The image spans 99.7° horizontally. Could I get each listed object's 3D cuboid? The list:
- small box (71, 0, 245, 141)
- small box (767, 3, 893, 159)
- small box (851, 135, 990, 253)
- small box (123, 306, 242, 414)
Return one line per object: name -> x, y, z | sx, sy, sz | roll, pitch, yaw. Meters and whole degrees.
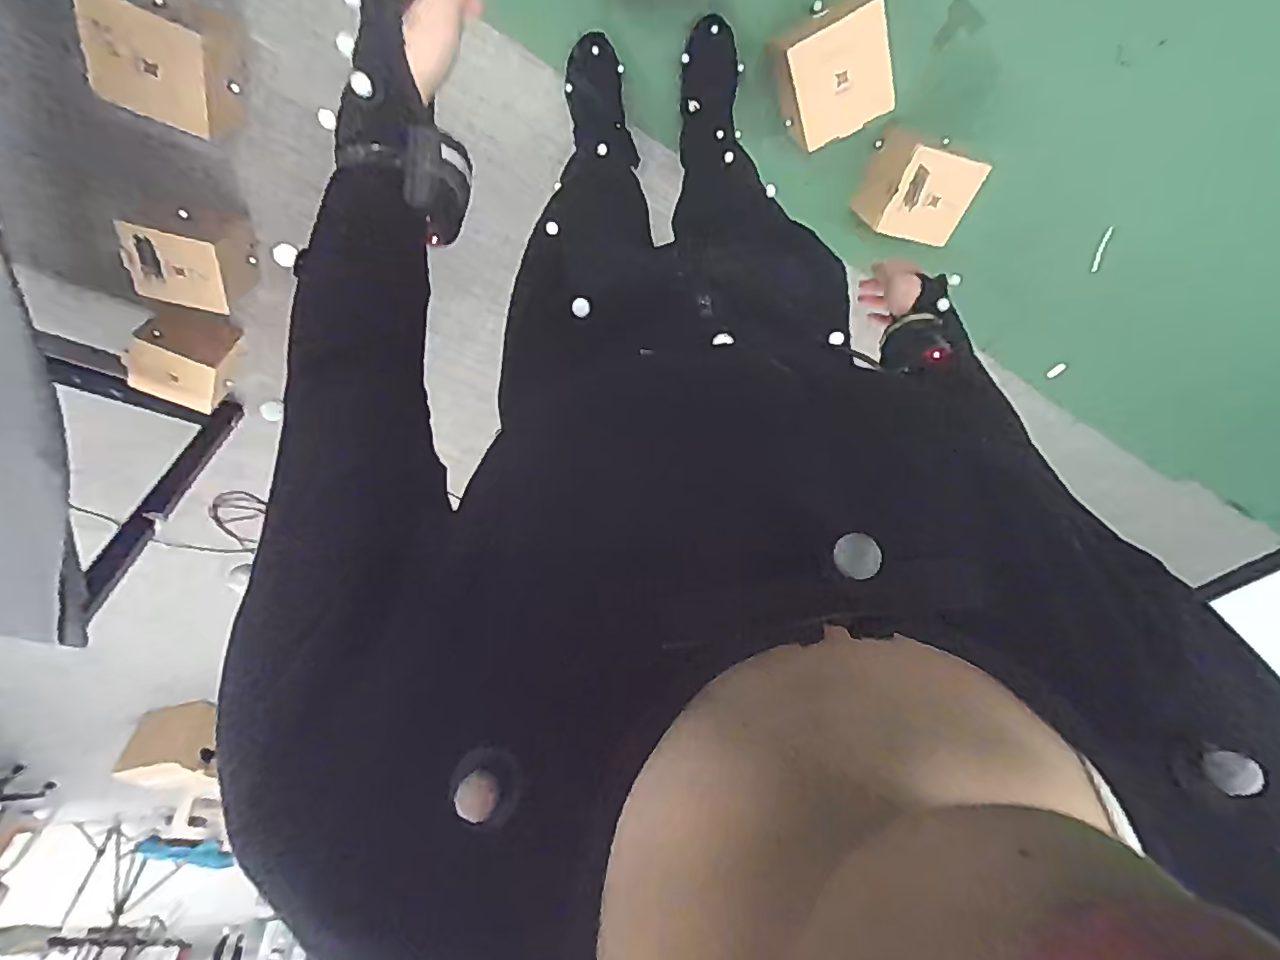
small box -> -0.821, -0.738, 0.946 | 0.179, 0.176, 0.168 | 16, 131, -19
small box -> 0.355, -0.753, 1.019 | 0.168, 0.176, 0.179 | -21, 132, 15
small box -> 0.590, -0.620, 1.167 | 0.179, 0.176, 0.168 | 7, 134, -12
small box -> -1.142, -0.305, 1.359 | 0.179, 0.176, 0.168 | 24, 129, -25
